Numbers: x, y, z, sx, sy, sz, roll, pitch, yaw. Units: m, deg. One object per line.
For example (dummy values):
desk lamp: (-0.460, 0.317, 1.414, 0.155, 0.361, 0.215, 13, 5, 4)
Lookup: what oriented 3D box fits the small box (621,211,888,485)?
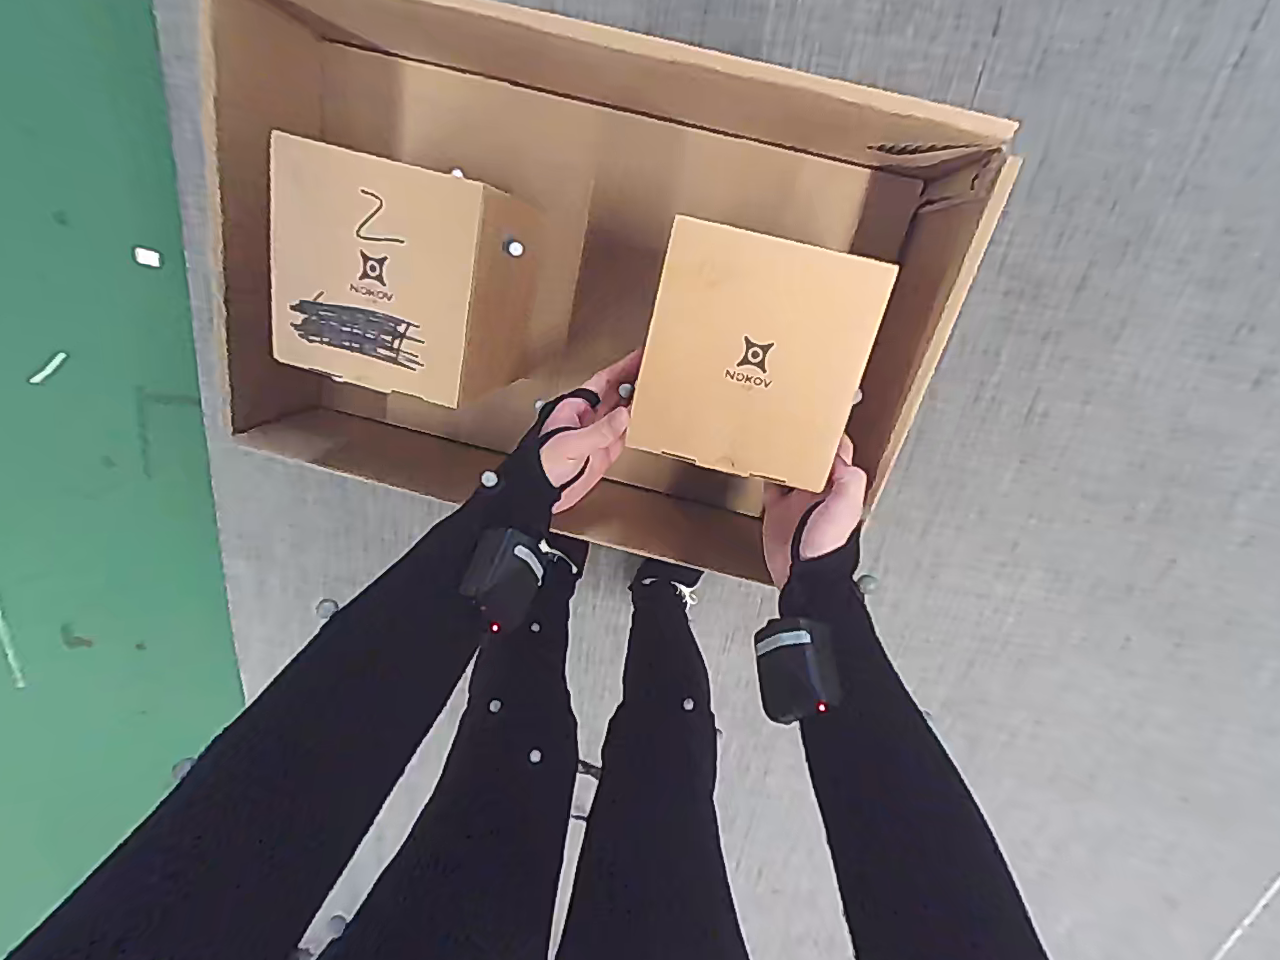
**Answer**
small box: (0.086, -0.116, 0.484, 0.168, 0.176, 0.179, 13, 107, 1)
